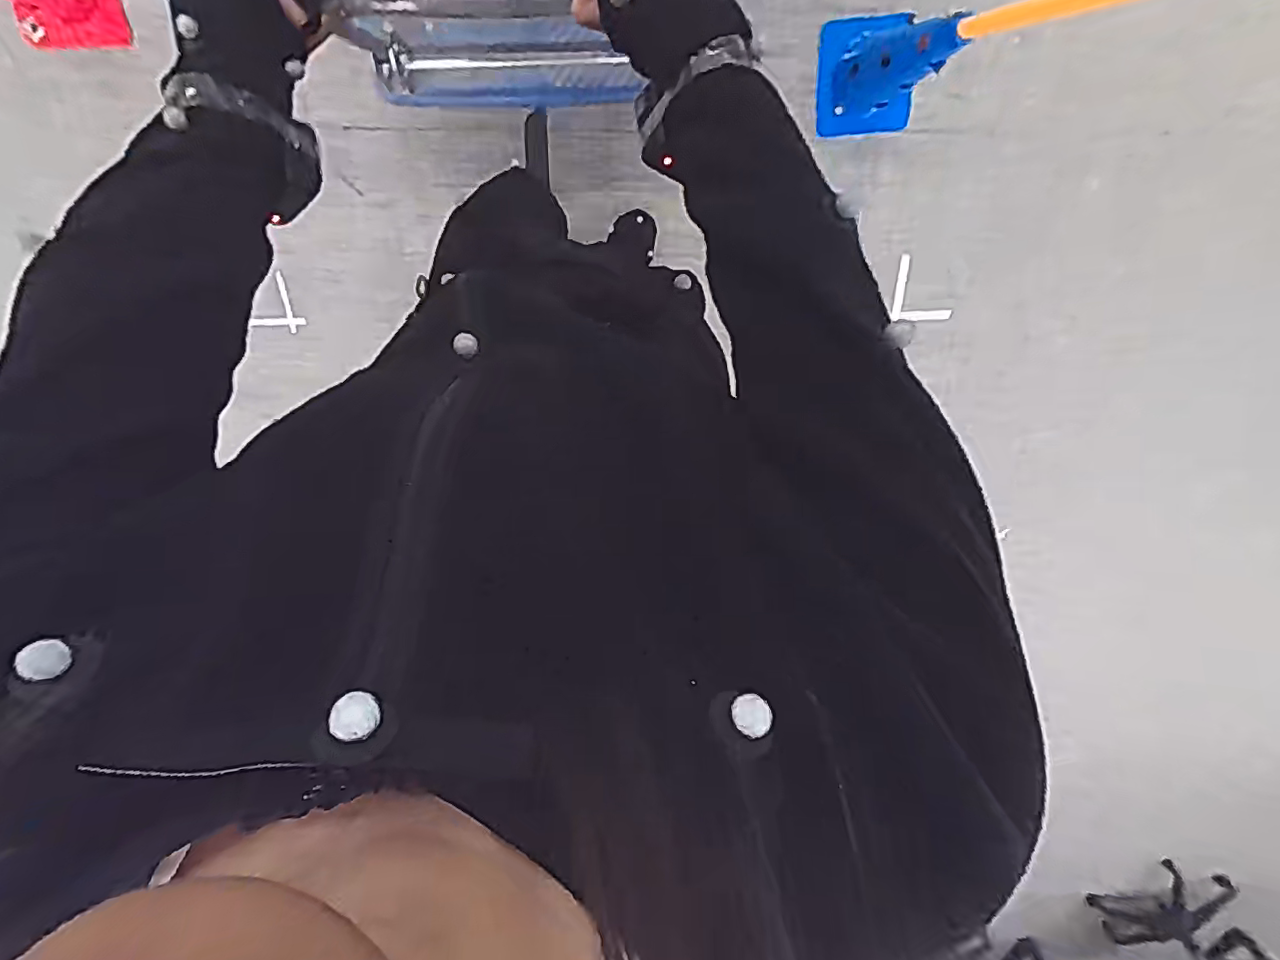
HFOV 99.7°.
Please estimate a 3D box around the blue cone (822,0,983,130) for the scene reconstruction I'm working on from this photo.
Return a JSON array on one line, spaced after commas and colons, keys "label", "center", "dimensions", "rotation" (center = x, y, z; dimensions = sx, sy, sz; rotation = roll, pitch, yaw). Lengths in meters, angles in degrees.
[{"label": "blue cone", "center": [0.476, -0.759, 0.959], "dimensions": [0.193, 0.380, 0.192], "rotation": [-4, 116, -1]}]
